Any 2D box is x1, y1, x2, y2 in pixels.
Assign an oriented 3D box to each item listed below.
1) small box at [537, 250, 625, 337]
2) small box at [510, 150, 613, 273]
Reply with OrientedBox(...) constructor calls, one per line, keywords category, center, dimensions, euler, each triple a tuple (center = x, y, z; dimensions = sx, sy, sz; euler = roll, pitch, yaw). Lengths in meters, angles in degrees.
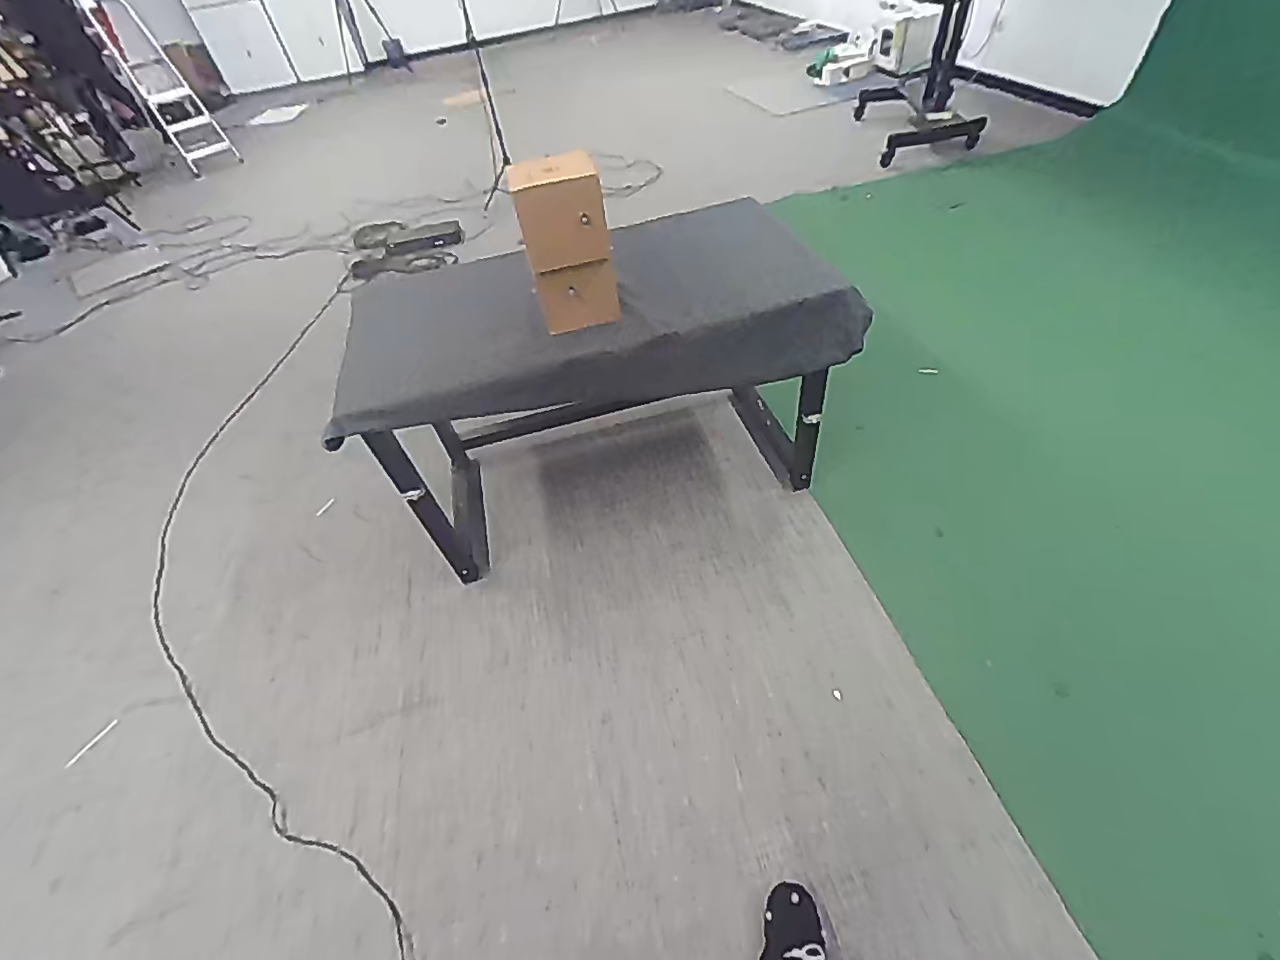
OrientedBox(category="small box", center=(-0.146, -0.462, 1.290), dimensions=(0.179, 0.176, 0.168), euler=(-15, 46, -6))
OrientedBox(category="small box", center=(-0.160, -0.563, 1.138), dimensions=(0.179, 0.176, 0.168), euler=(-16, 47, -7))
